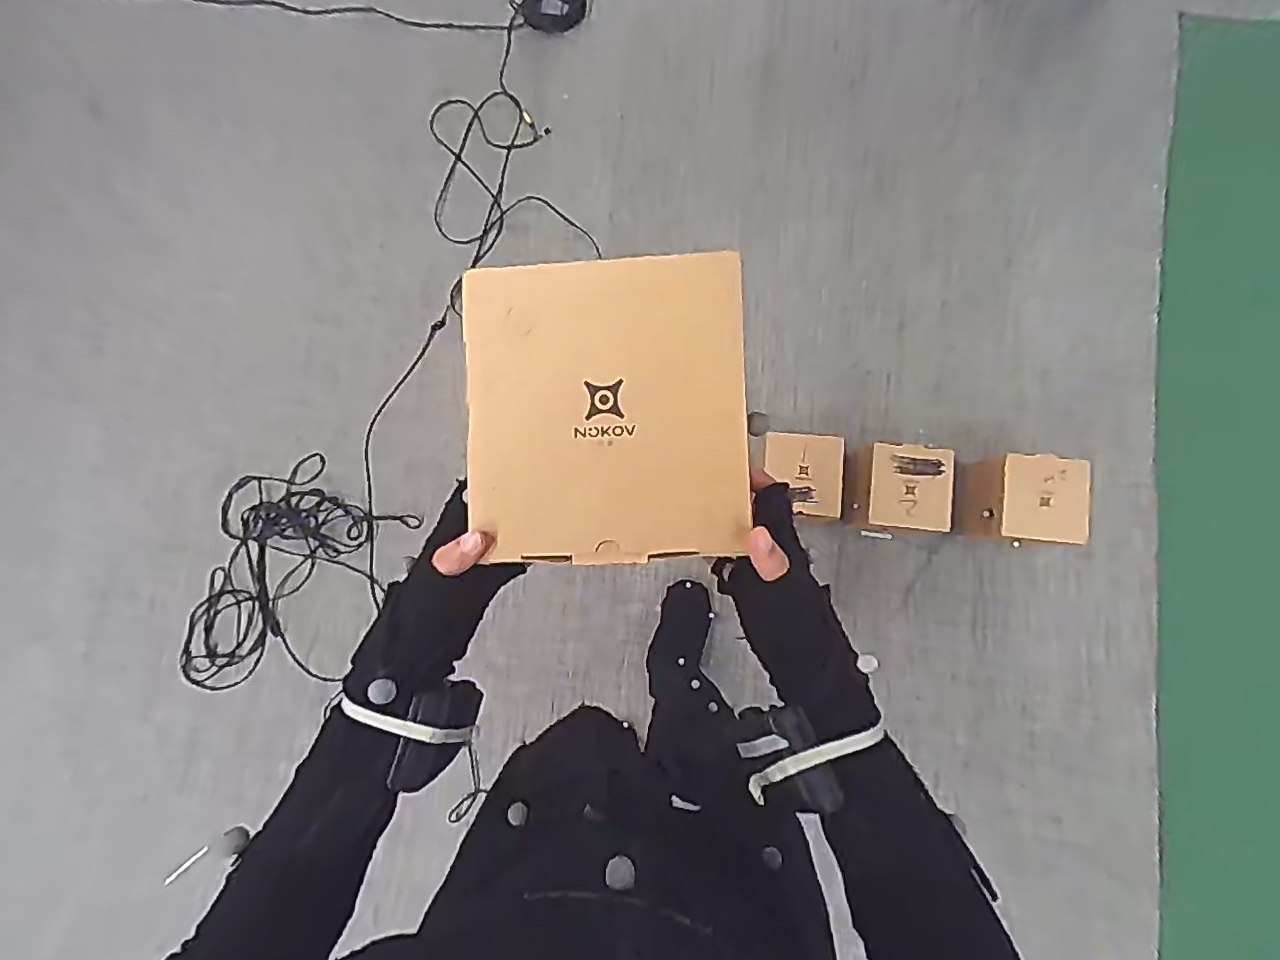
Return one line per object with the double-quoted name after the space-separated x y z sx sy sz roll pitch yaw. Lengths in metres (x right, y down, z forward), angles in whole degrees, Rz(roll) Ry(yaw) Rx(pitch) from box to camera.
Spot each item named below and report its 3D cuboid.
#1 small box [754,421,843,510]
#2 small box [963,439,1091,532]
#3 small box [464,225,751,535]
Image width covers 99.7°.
0.351 -0.027 1.223 0.168 0.176 0.179 4 84 7 "small box"
0.827 0.017 1.171 0.168 0.176 0.179 5 85 6 "small box"
-0.015 -0.055 0.393 0.168 0.176 0.179 -3 89 5 "small box"
